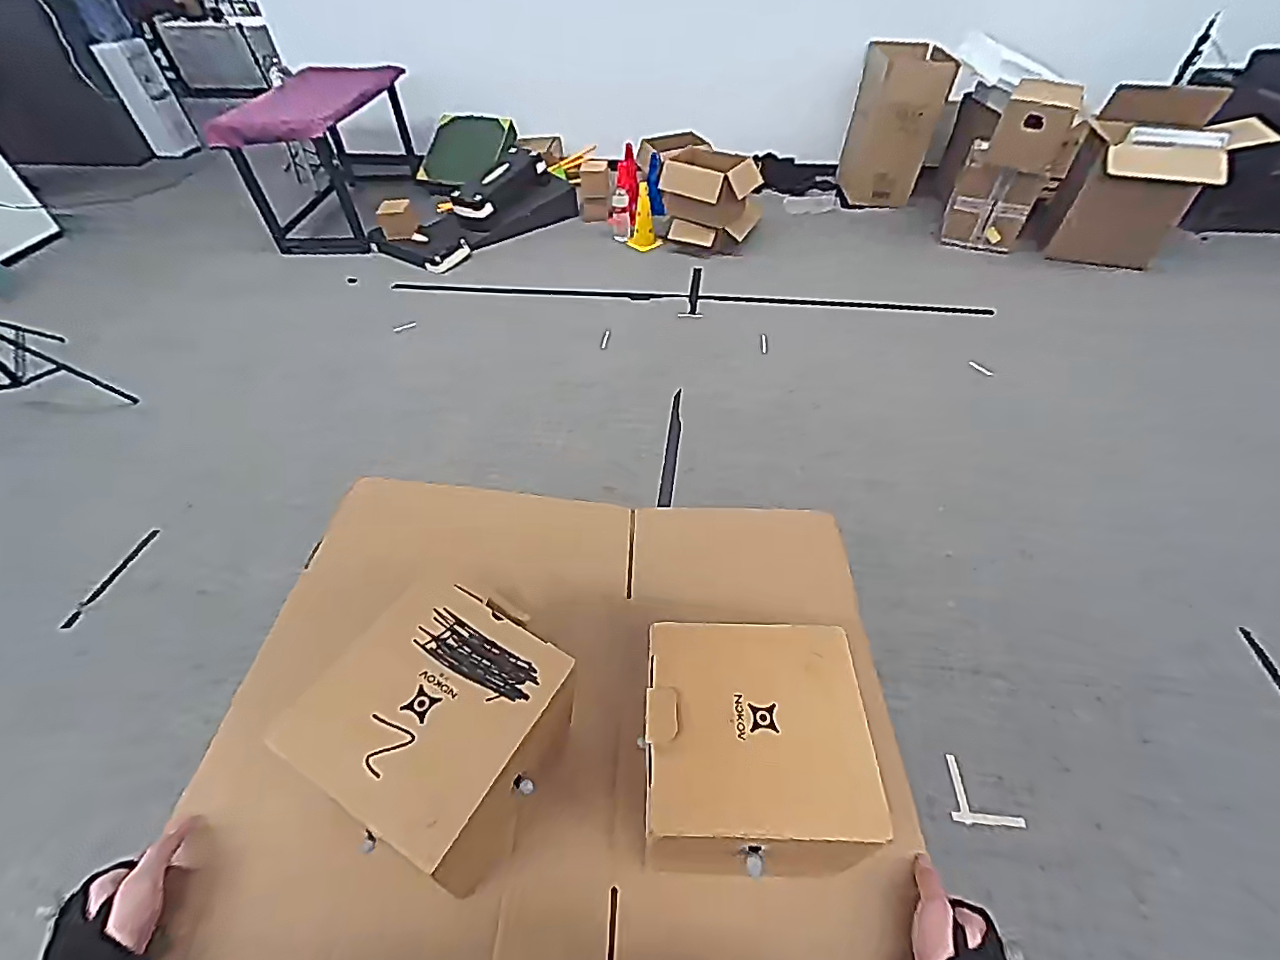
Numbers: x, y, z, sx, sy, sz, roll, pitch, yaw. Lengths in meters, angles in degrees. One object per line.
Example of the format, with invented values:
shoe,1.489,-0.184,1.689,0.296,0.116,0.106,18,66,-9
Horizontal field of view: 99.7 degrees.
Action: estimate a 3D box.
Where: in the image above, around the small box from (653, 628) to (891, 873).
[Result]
small box,0.101,0.254,0.506,0.179,0.176,0.168,0,46,2
